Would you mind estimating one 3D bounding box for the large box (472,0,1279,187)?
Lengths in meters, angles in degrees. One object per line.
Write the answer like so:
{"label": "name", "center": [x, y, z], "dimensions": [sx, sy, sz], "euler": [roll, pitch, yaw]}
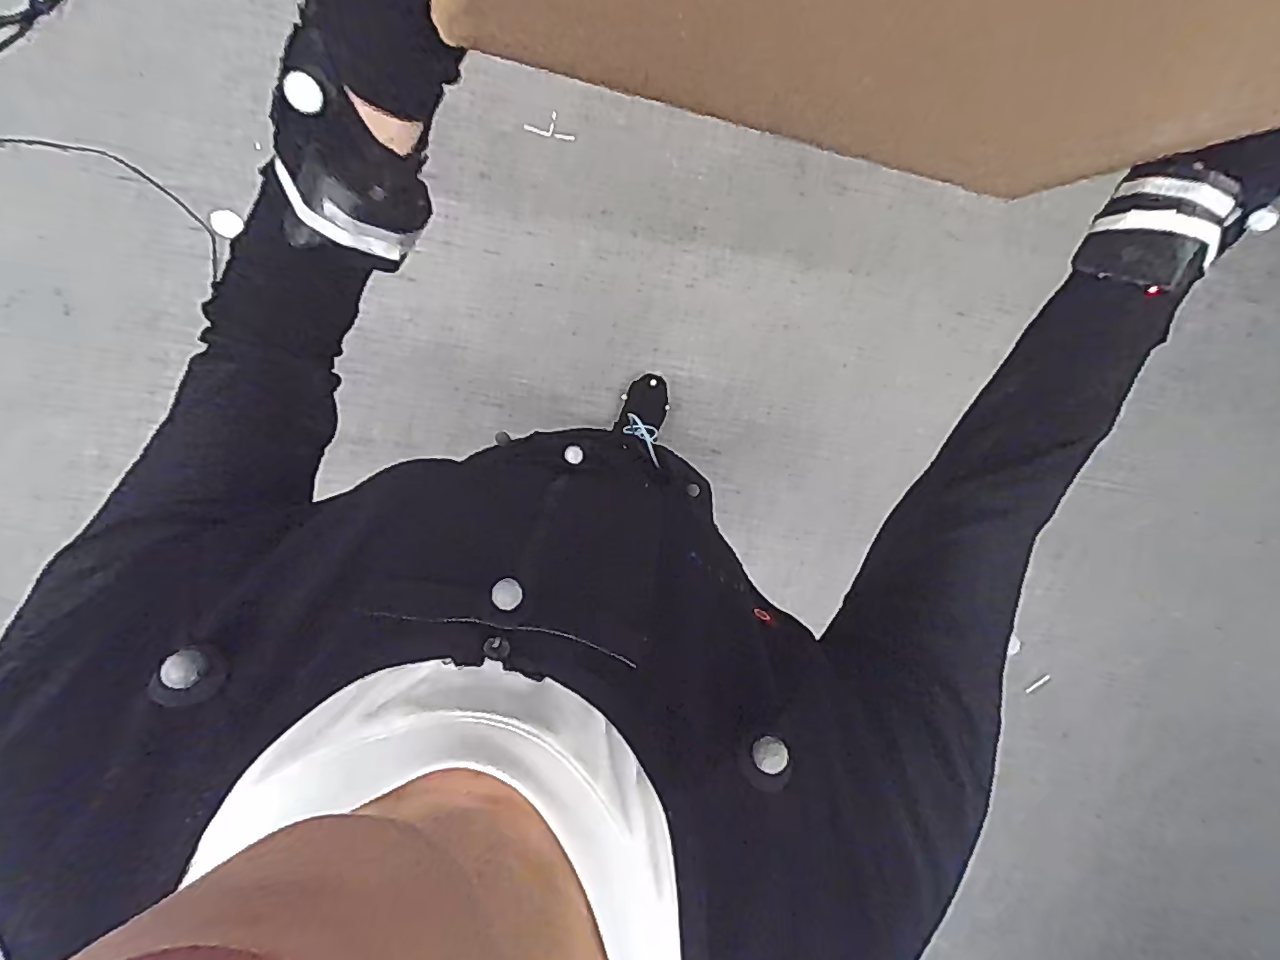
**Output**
{"label": "large box", "center": [0.170, -0.328, 0.164], "dimensions": [0.408, 0.320, 0.320], "euler": [-3, 103, -26]}
